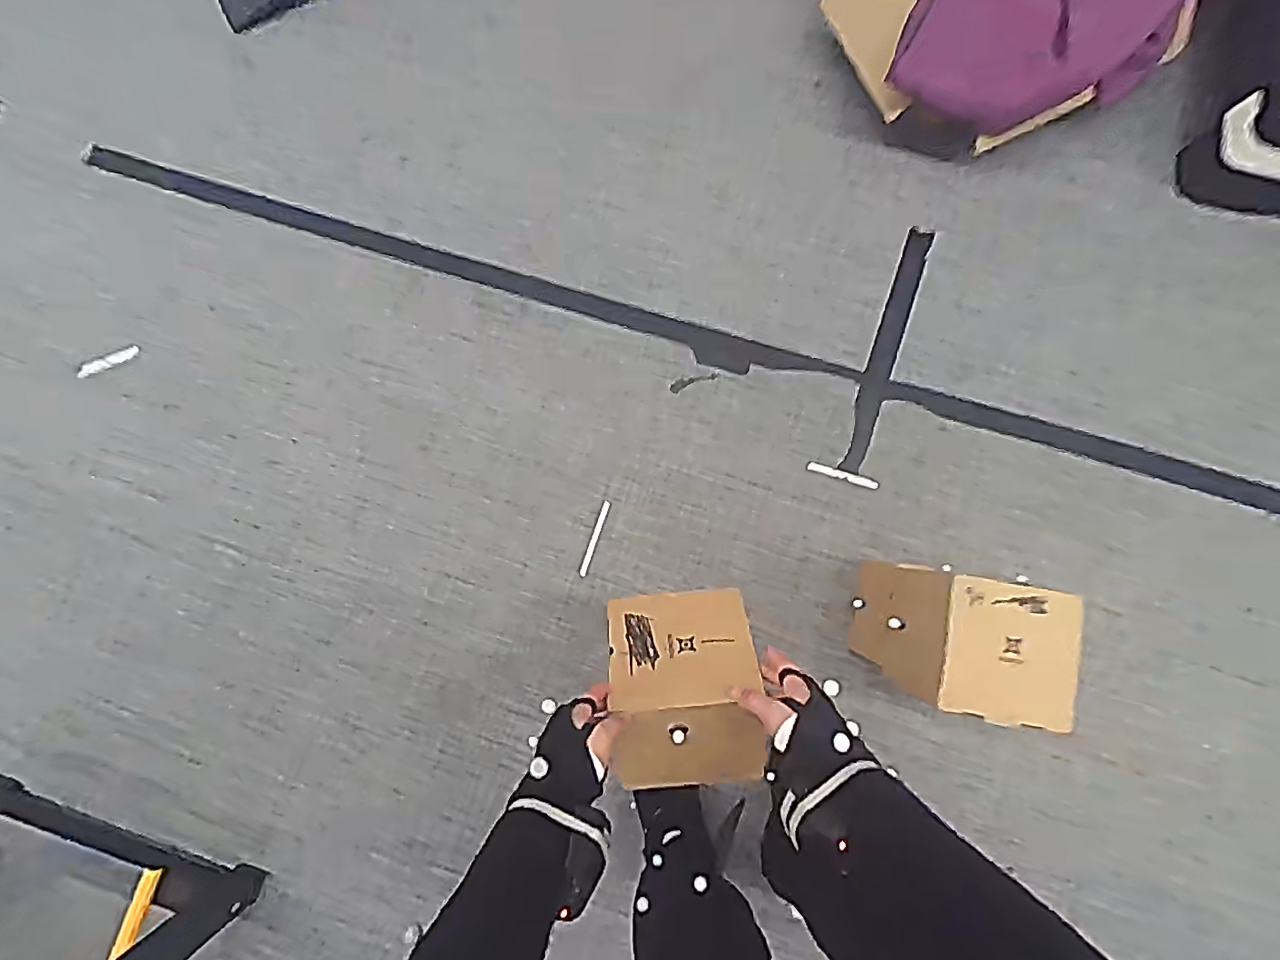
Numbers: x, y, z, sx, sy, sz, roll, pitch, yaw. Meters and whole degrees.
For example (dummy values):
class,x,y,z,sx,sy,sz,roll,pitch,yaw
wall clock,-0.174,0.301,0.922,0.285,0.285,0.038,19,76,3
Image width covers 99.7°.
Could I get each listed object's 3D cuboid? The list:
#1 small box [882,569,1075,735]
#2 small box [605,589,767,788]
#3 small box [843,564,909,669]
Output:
class,x,y,z,sx,sy,sz,roll,pitch,yaw
small box,0.467,0.231,0.772,0.168,0.176,0.179,11,84,3
small box,0.055,0.262,0.679,0.179,0.168,0.176,-6,125,1
small box,0.477,0.243,0.935,0.179,0.176,0.168,12,84,3
